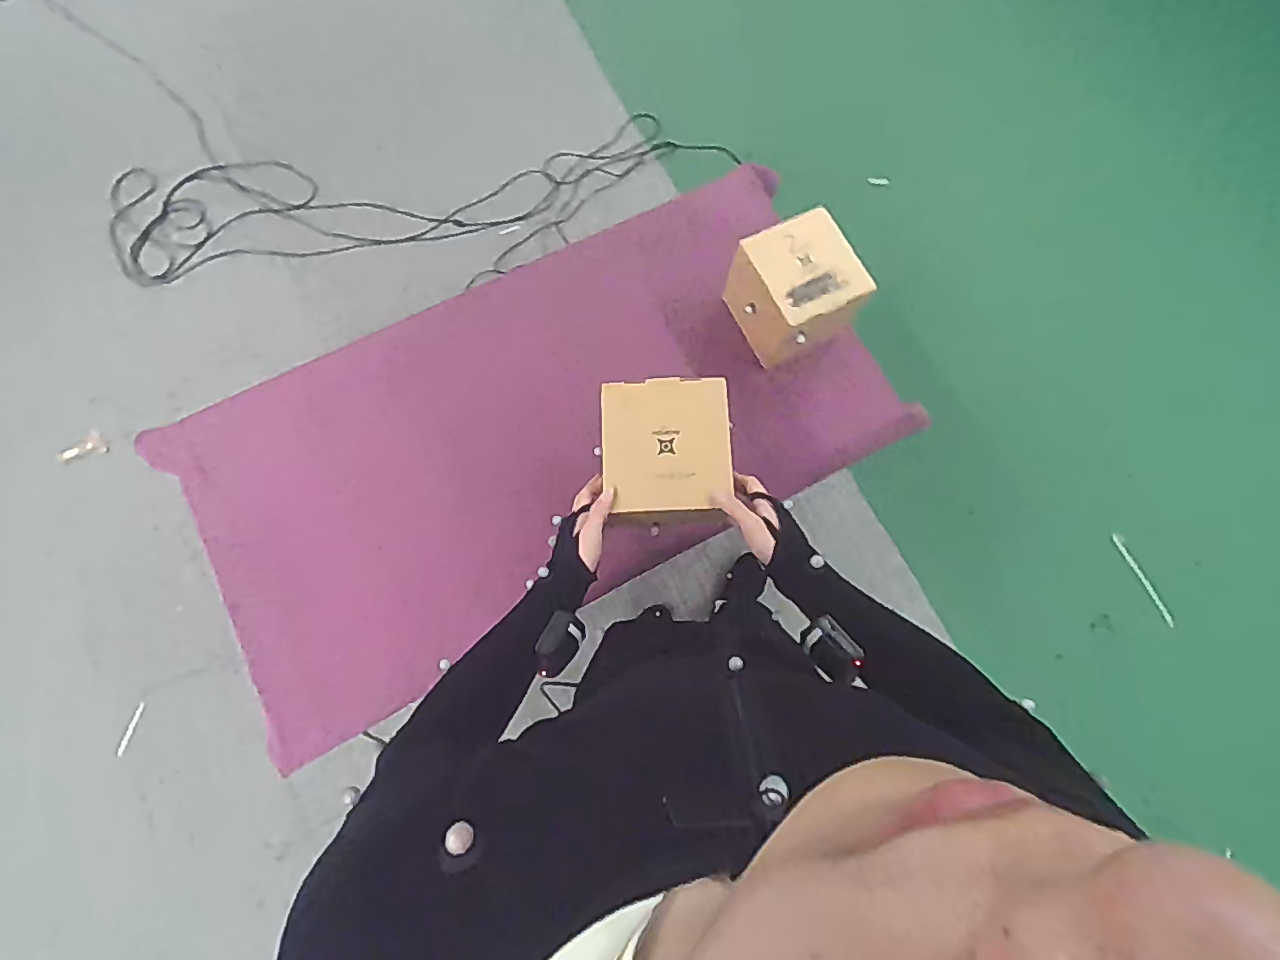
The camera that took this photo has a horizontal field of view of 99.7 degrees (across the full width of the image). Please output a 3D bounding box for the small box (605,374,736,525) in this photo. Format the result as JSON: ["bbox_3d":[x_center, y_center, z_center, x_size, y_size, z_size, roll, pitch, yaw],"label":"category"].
[{"bbox_3d":[0.039,-0.034,0.761,0.168,0.176,0.179,-1,78,2],"label":"small box"}]
